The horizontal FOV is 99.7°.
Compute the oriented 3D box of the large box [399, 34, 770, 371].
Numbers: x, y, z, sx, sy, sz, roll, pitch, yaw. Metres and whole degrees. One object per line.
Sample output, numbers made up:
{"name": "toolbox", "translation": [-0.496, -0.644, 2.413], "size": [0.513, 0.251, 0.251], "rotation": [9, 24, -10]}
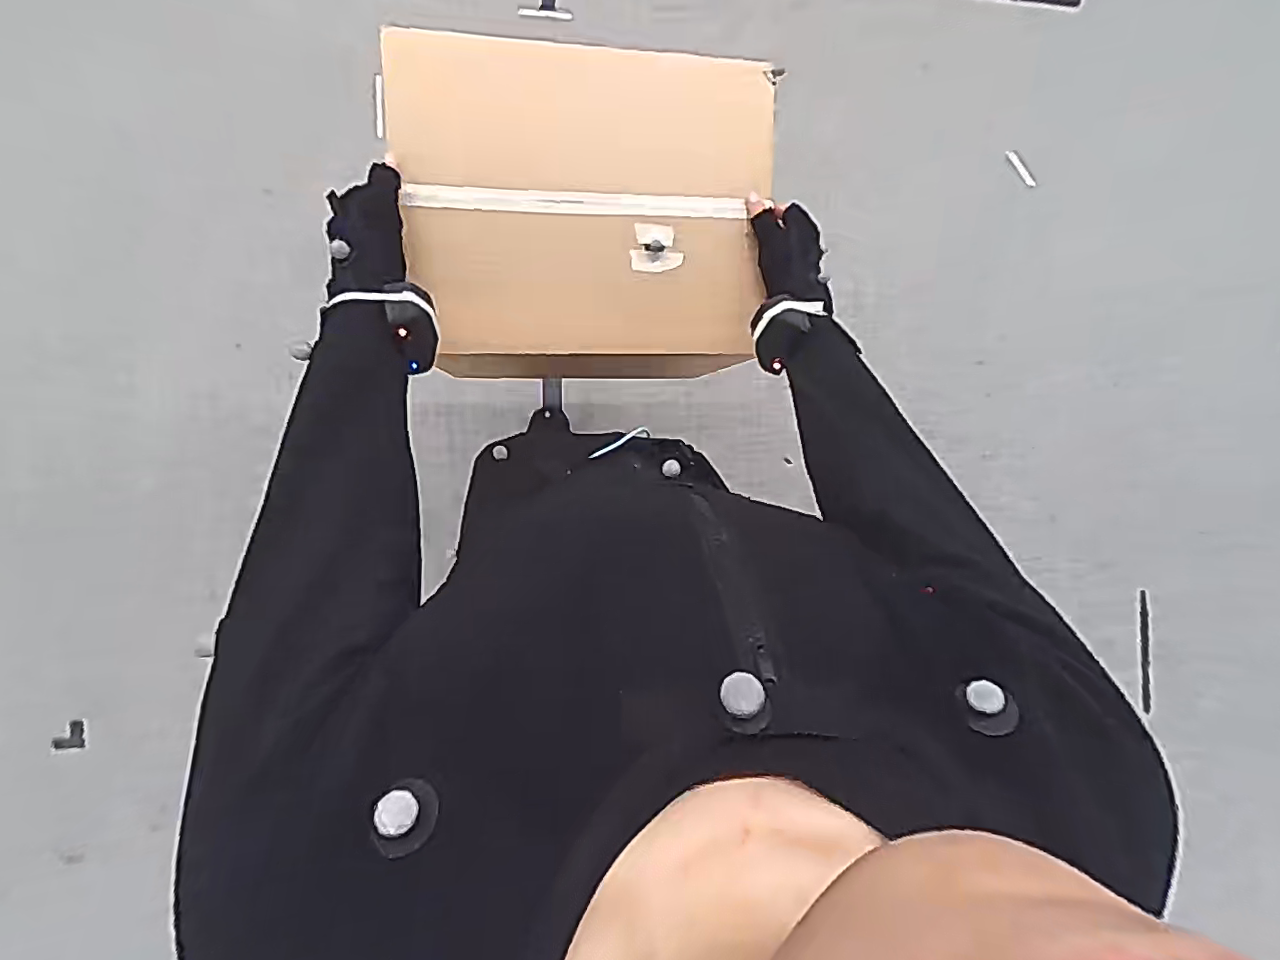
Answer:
{"name": "large box", "translation": [-0.072, -0.324, 0.740], "size": [0.408, 0.320, 0.320], "rotation": [-2, 97, -10]}
